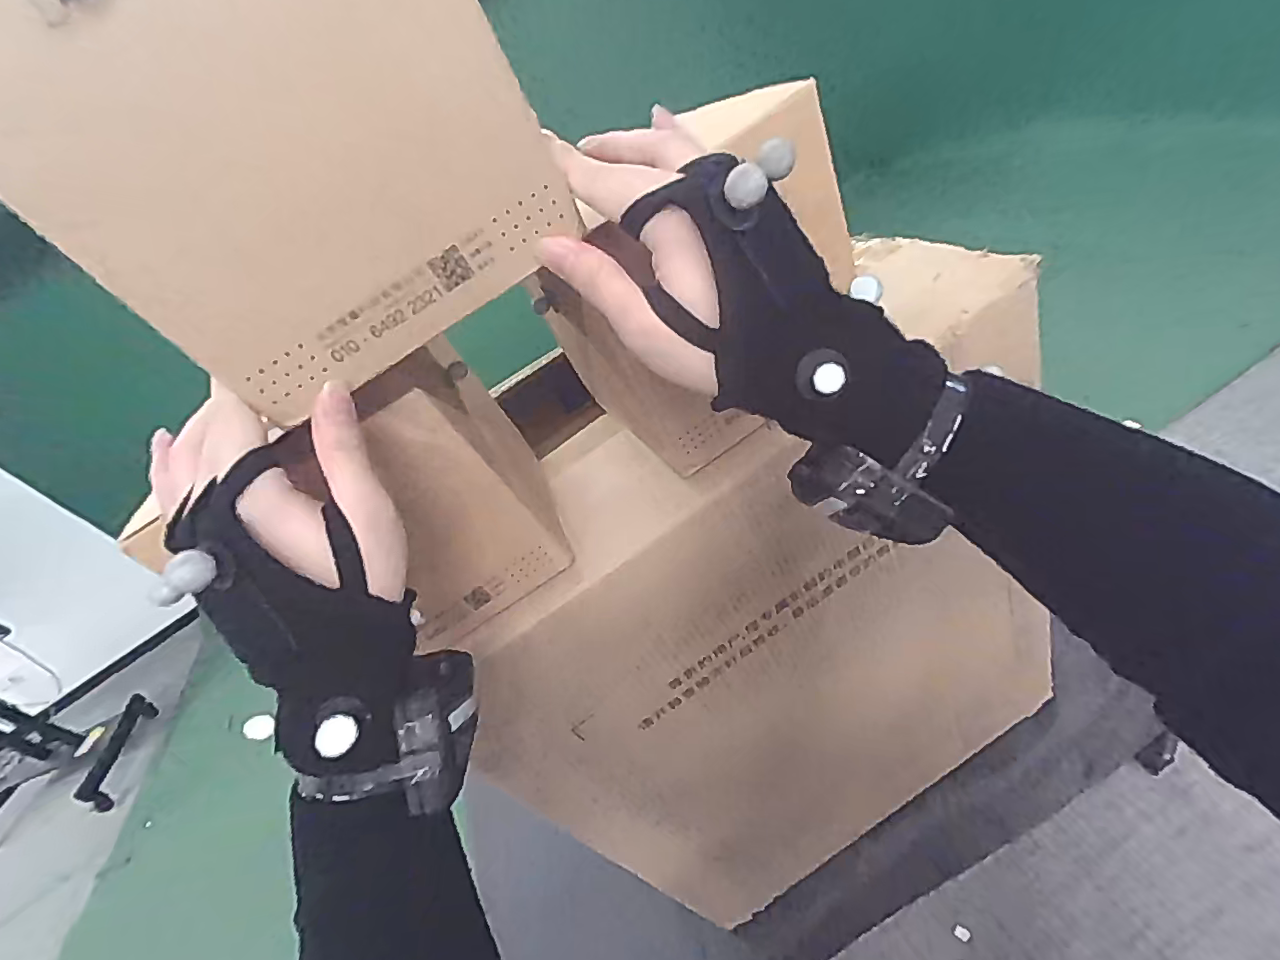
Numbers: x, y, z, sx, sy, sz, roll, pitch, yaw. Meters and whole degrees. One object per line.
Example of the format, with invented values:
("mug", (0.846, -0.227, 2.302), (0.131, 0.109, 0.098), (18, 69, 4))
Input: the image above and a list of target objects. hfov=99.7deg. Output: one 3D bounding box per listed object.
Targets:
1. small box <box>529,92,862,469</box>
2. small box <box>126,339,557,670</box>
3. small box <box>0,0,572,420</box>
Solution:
("small box", (0.026, -0.135, 0.391), (0.168, 0.176, 0.179), (-37, 37, -6))
("small box", (-0.176, 0.005, 0.380), (0.168, 0.176, 0.179), (-33, 35, 1))
("small box", (-0.156, -0.158, 0.252), (0.168, 0.176, 0.179), (-33, 41, 0))
